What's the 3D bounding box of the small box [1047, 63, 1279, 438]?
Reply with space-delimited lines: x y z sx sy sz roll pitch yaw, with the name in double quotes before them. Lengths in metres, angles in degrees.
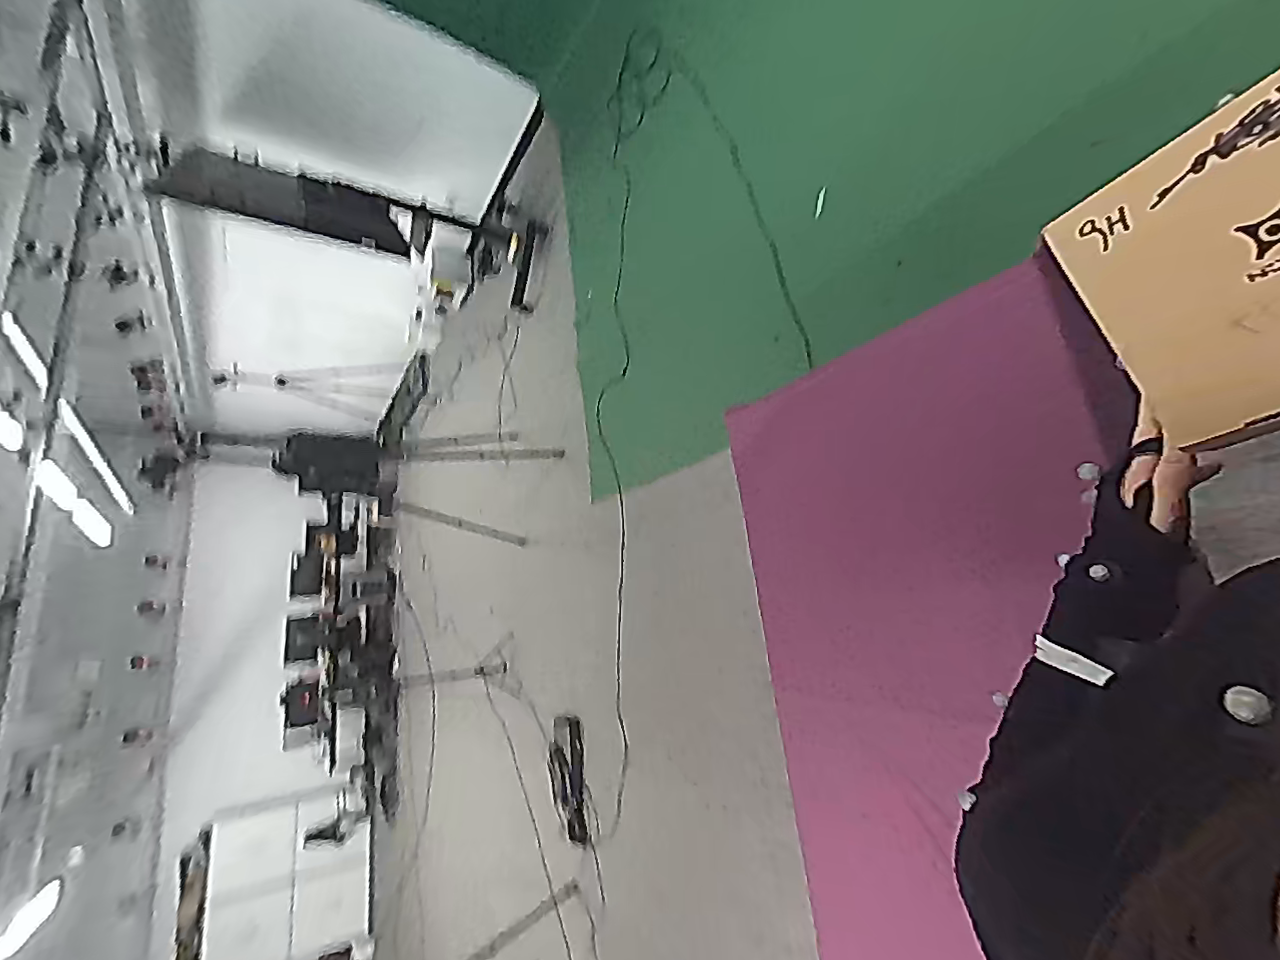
"small box" 0.417 -0.140 0.348 0.168 0.176 0.179 -34 67 48
